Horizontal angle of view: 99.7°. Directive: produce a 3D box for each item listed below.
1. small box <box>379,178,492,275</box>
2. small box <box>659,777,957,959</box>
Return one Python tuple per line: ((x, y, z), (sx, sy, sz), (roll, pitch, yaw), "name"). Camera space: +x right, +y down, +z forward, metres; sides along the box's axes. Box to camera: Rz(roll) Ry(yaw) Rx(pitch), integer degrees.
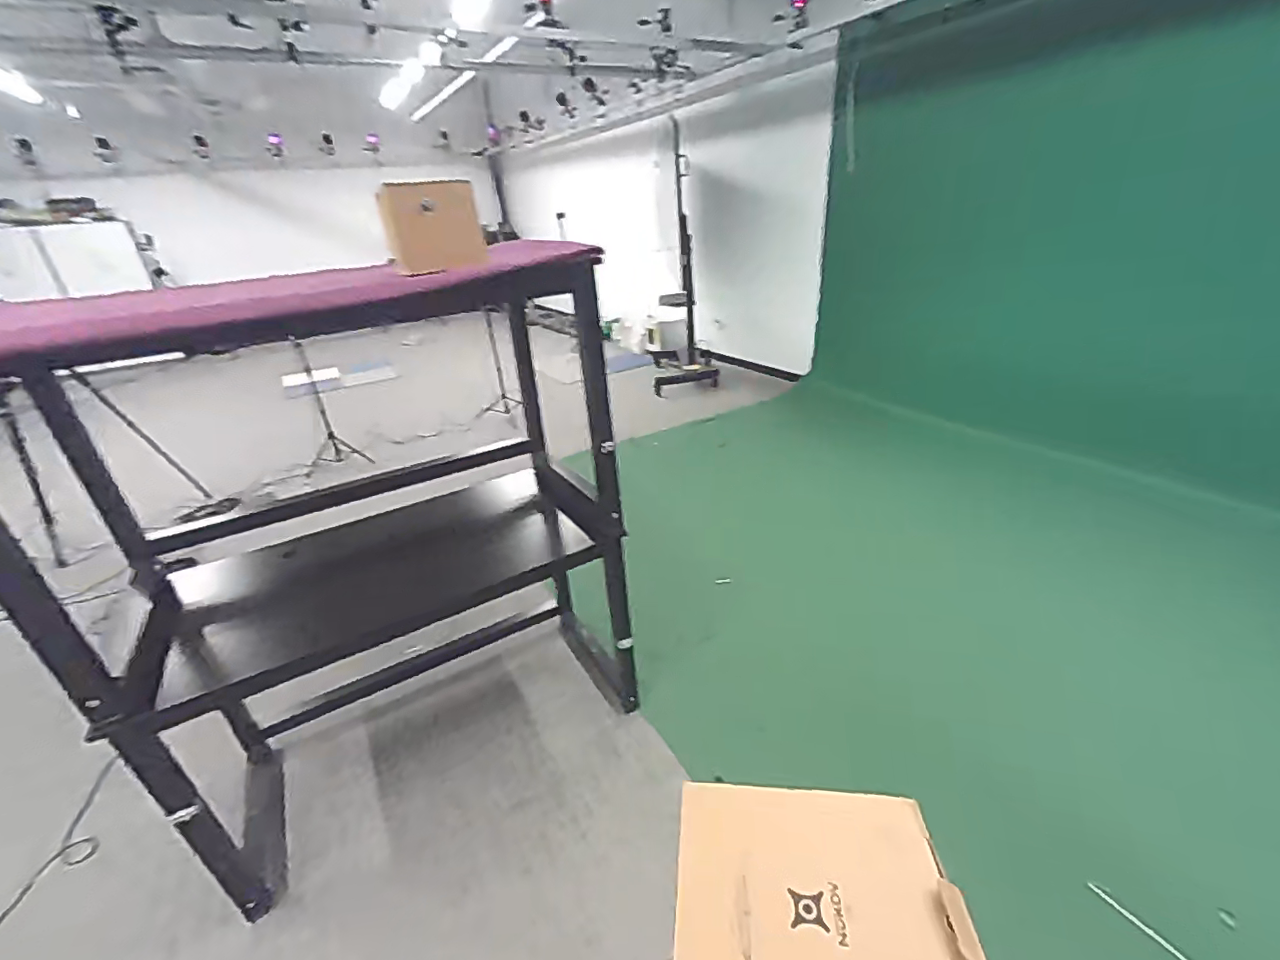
((-0.439, -0.540, 1.164), (0.179, 0.176, 0.168), (-18, 28, -24), "small box")
((0.106, 0.343, 0.378), (0.179, 0.176, 0.168), (-1, 24, 7), "small box")
